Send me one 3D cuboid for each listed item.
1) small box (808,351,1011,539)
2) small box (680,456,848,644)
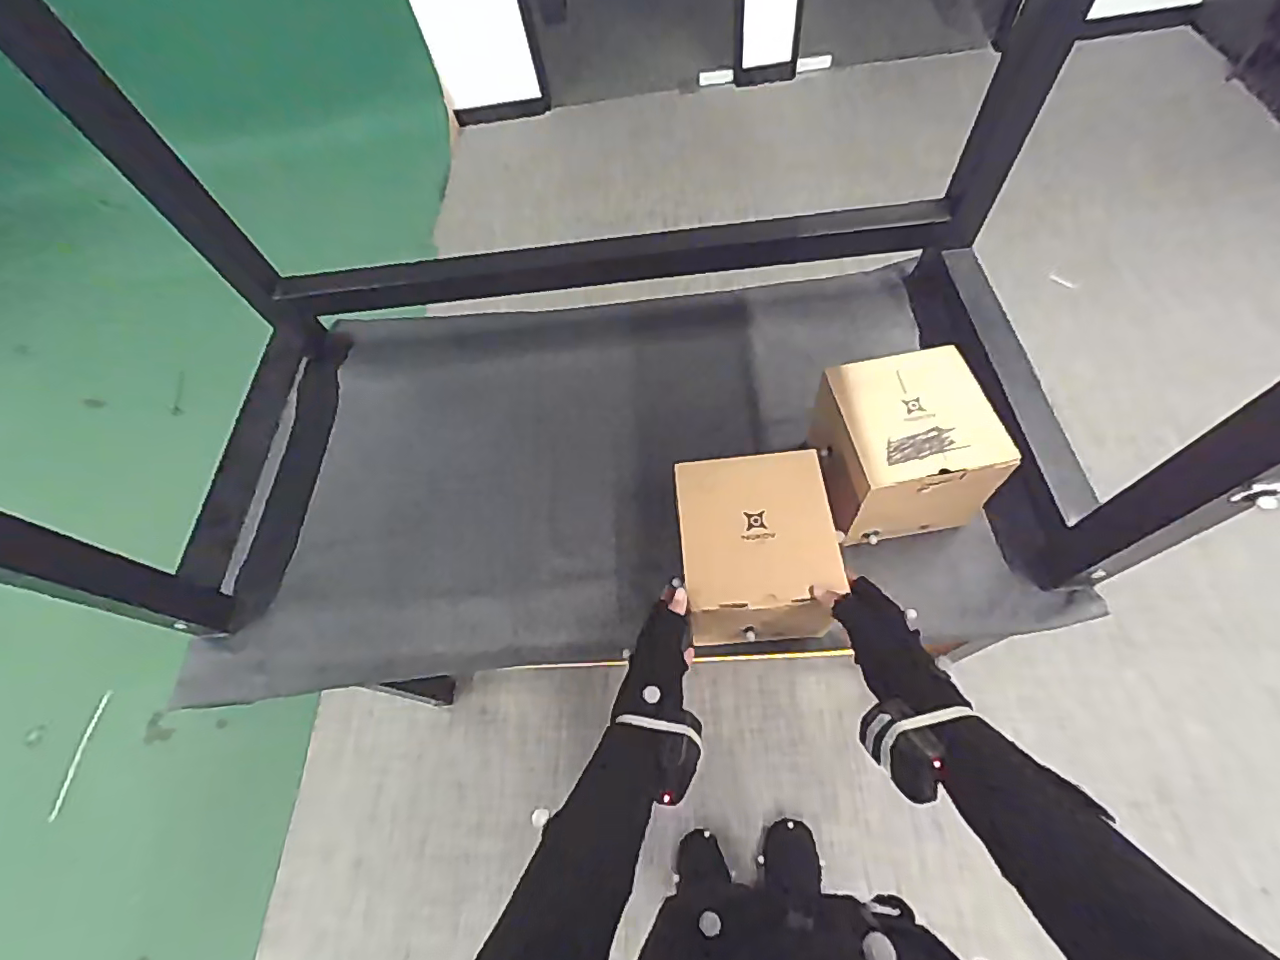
[{"bbox_3d":[0.331,-0.035,0.708,0.168,0.176,0.179,-10,59,3],"label":"small box"},{"bbox_3d":[0.140,0.092,0.669,0.168,0.176,0.179,-6,60,6],"label":"small box"}]
